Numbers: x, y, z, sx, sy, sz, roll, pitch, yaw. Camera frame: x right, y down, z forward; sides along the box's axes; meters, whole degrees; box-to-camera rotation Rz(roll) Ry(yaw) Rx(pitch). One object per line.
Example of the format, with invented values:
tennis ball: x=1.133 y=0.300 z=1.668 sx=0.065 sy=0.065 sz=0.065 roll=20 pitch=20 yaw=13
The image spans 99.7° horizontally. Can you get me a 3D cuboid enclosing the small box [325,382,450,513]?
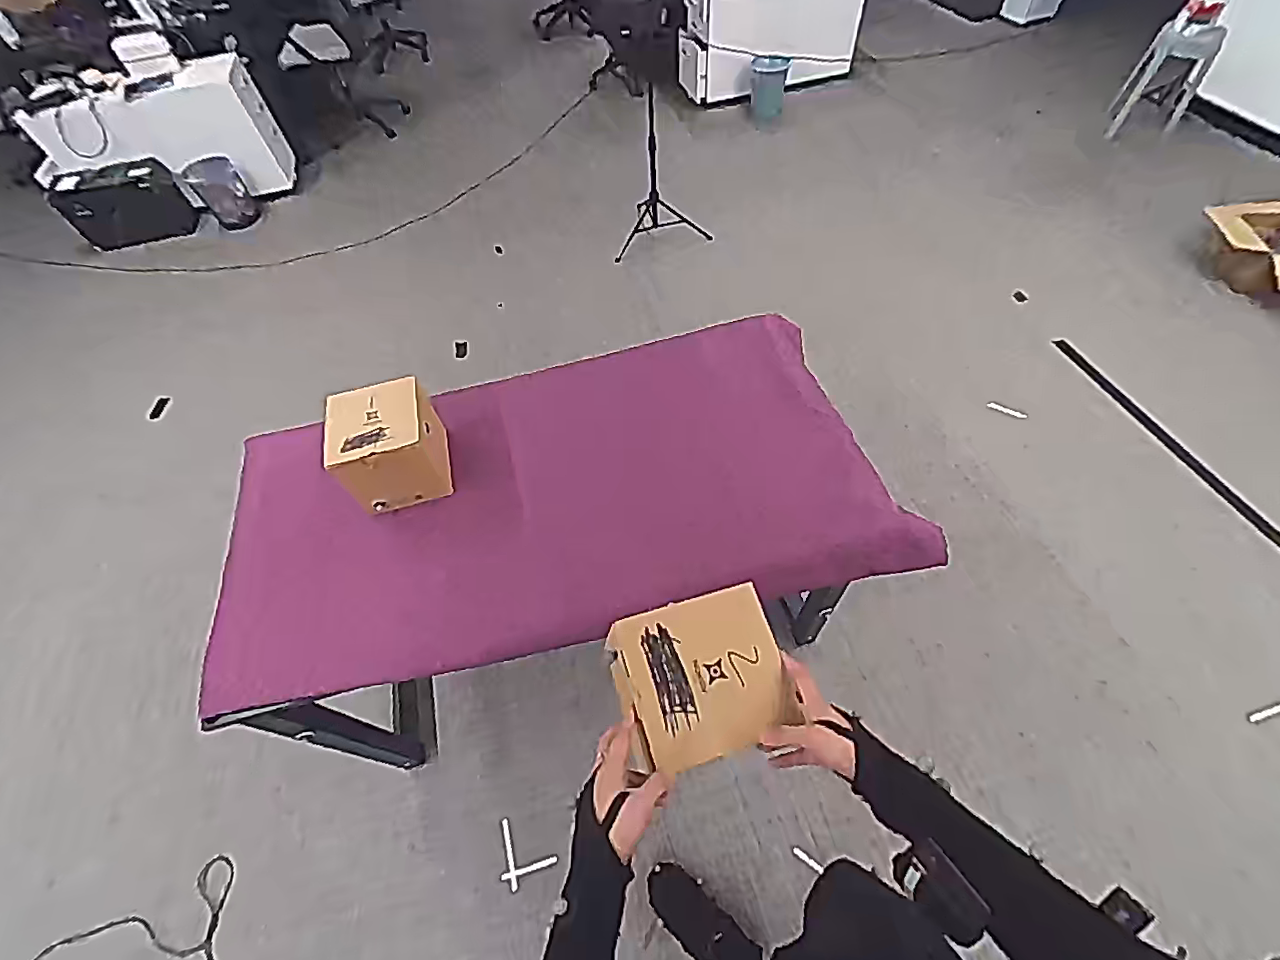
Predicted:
small box: x=-0.478 y=-0.054 z=1.041 sx=0.168 sy=0.176 sz=0.179 roll=-16 pitch=56 yaw=-6
